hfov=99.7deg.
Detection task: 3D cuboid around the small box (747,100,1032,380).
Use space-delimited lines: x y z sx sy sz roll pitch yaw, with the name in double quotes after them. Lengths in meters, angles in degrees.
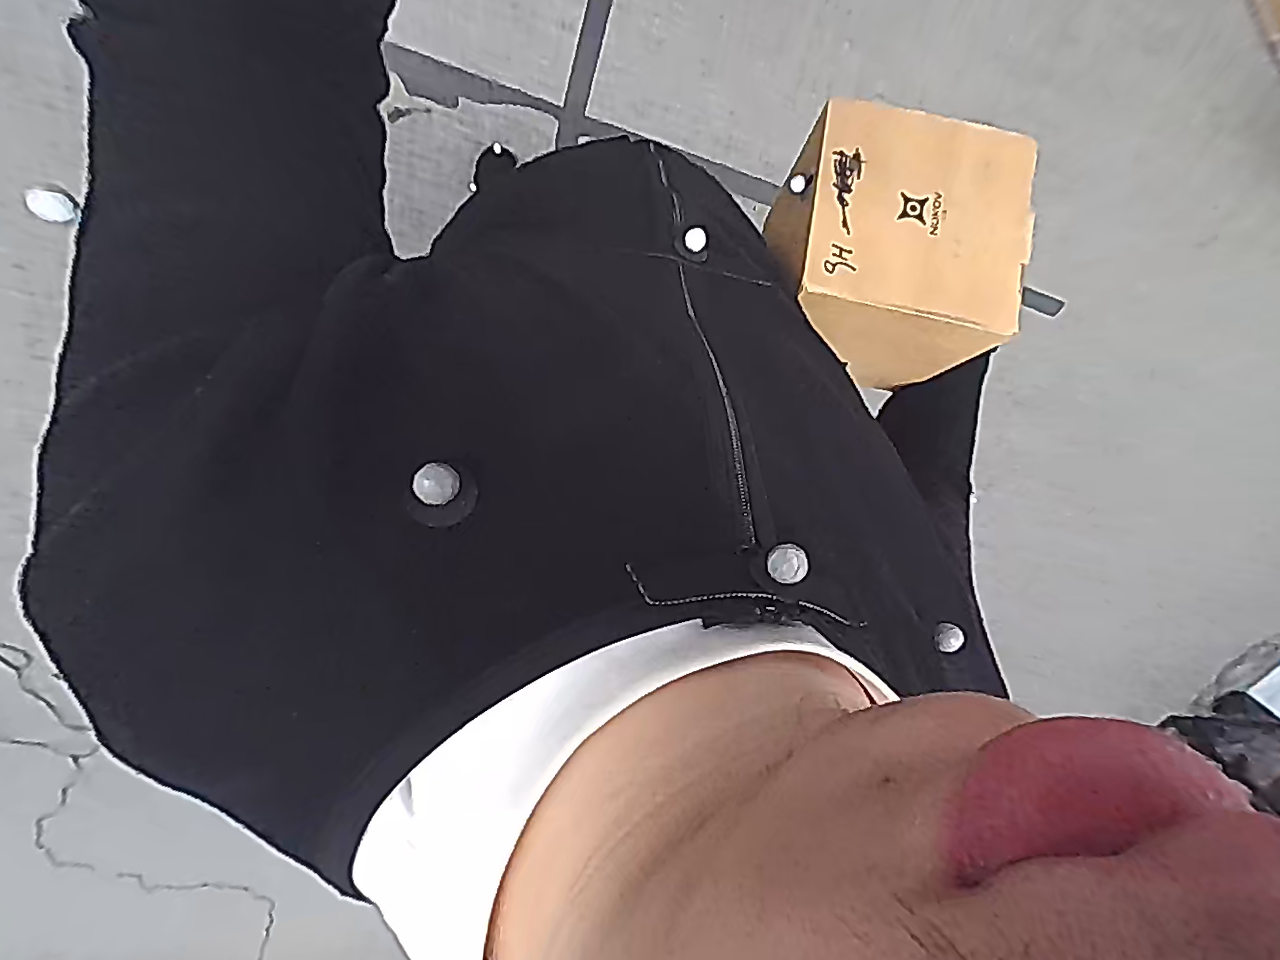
0.219 -0.205 0.513 0.179 0.176 0.168 11 83 -3 "small box"
